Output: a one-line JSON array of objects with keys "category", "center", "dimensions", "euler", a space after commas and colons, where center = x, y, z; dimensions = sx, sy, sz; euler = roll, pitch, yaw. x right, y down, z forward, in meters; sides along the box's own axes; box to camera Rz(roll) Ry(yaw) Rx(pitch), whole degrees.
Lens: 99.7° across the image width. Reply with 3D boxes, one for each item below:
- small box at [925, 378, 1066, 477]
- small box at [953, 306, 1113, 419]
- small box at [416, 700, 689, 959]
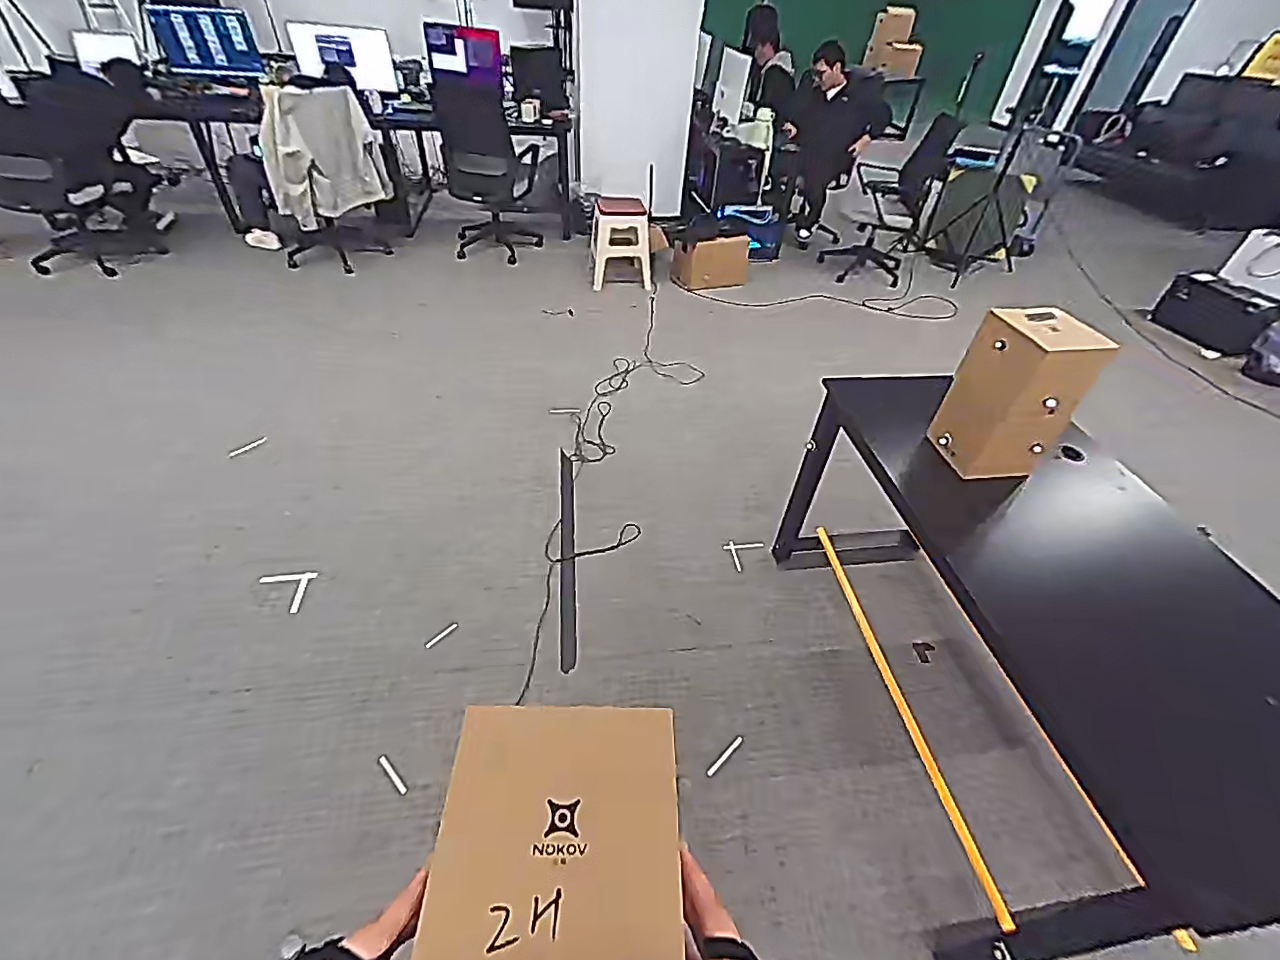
[{"category": "small box", "center": [0.799, -0.123, 1.238], "dimensions": [0.179, 0.176, 0.168], "euler": [-5, 42, -8]}, {"category": "small box", "center": [0.801, -0.246, 1.127], "dimensions": [0.168, 0.176, 0.179], "euler": [-5, 43, -10]}, {"category": "small box", "center": [-0.056, 0.298, 0.430], "dimensions": [0.168, 0.176, 0.179], "euler": [1, 44, -2]}]
